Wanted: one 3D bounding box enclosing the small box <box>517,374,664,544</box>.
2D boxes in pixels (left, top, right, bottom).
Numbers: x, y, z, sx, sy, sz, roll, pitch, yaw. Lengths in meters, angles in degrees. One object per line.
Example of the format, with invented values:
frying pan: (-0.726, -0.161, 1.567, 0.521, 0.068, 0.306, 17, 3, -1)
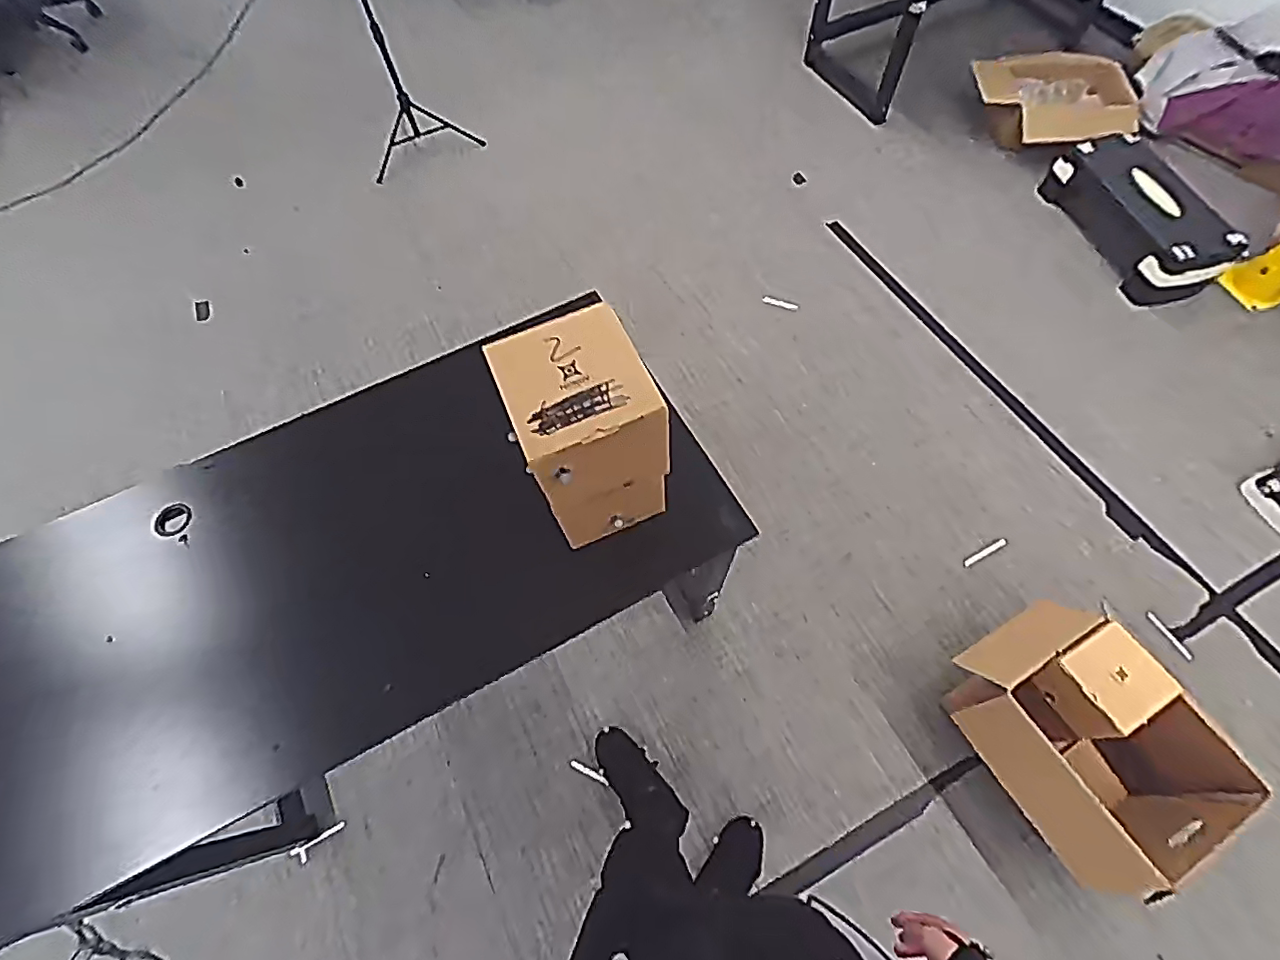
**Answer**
small box: (-0.071, -0.027, 0.838, 0.168, 0.176, 0.179, -23, 66, -7)
